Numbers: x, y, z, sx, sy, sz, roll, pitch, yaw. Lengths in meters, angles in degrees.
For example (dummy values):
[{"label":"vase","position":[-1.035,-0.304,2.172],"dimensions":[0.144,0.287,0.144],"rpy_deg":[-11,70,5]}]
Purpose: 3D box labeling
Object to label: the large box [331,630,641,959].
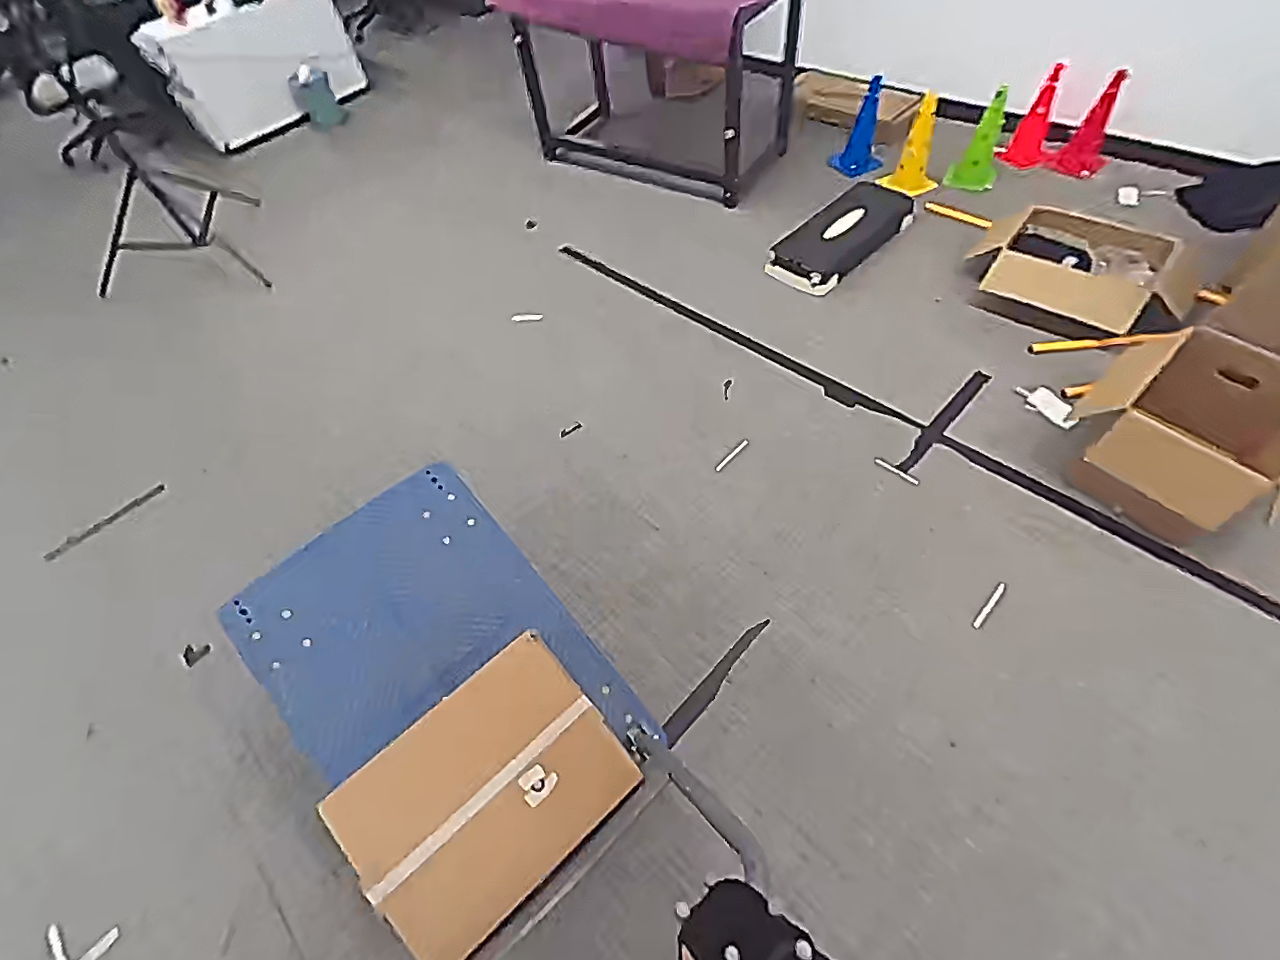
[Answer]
[{"label":"large box","position":[-0.261,0.546,1.015],"dimensions":[0.408,0.320,0.320],"rpy_deg":[-39,81,-19]}]
